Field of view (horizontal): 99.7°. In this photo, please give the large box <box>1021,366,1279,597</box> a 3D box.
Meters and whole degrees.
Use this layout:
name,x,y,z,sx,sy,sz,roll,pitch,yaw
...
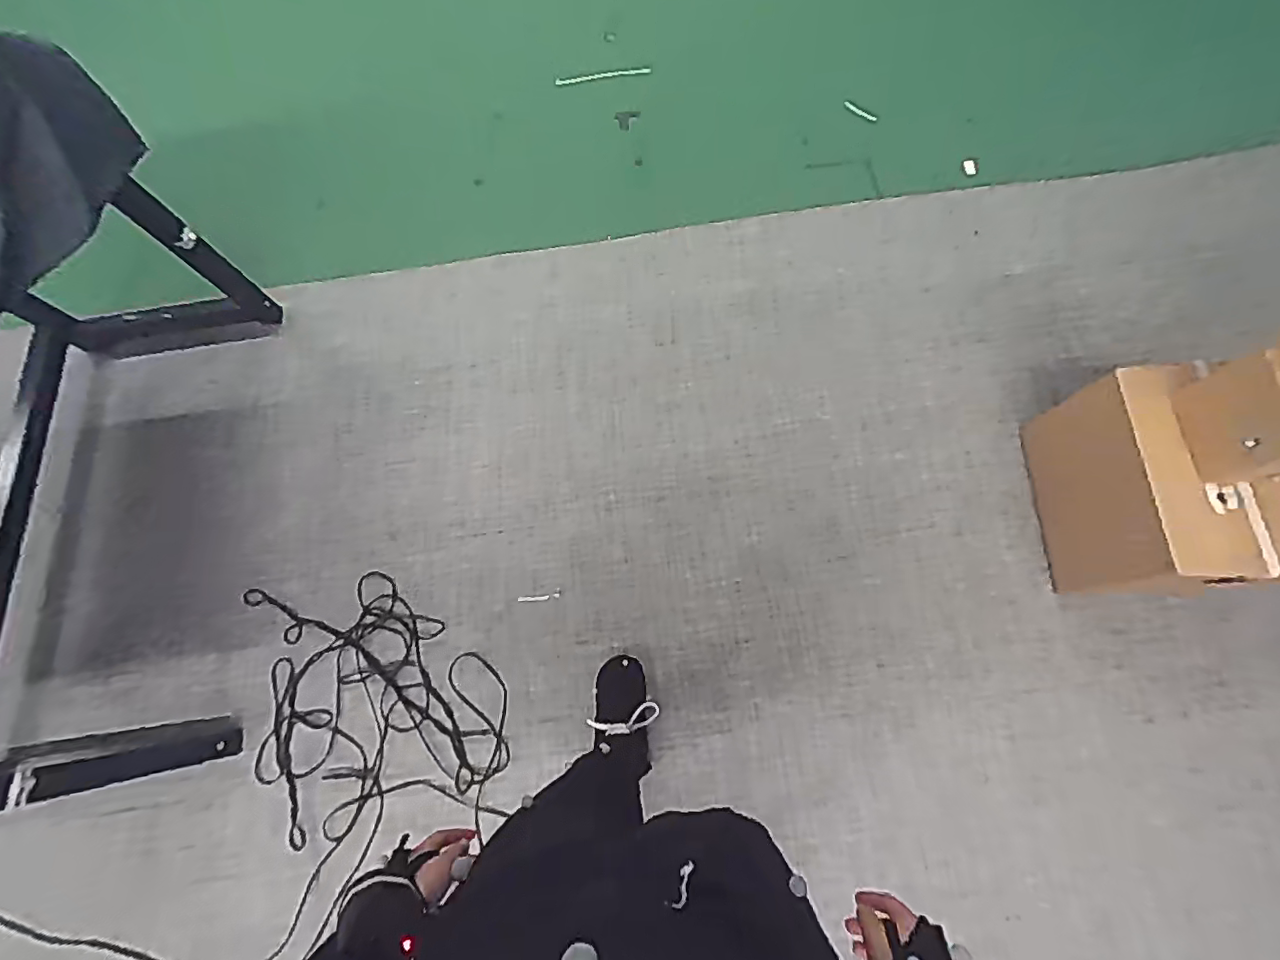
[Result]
name,x,y,z,sx,sy,sz,roll,pitch,yaw
large box,1.072,0.022,1.113,0.320,0.320,0.408,-2,73,4
